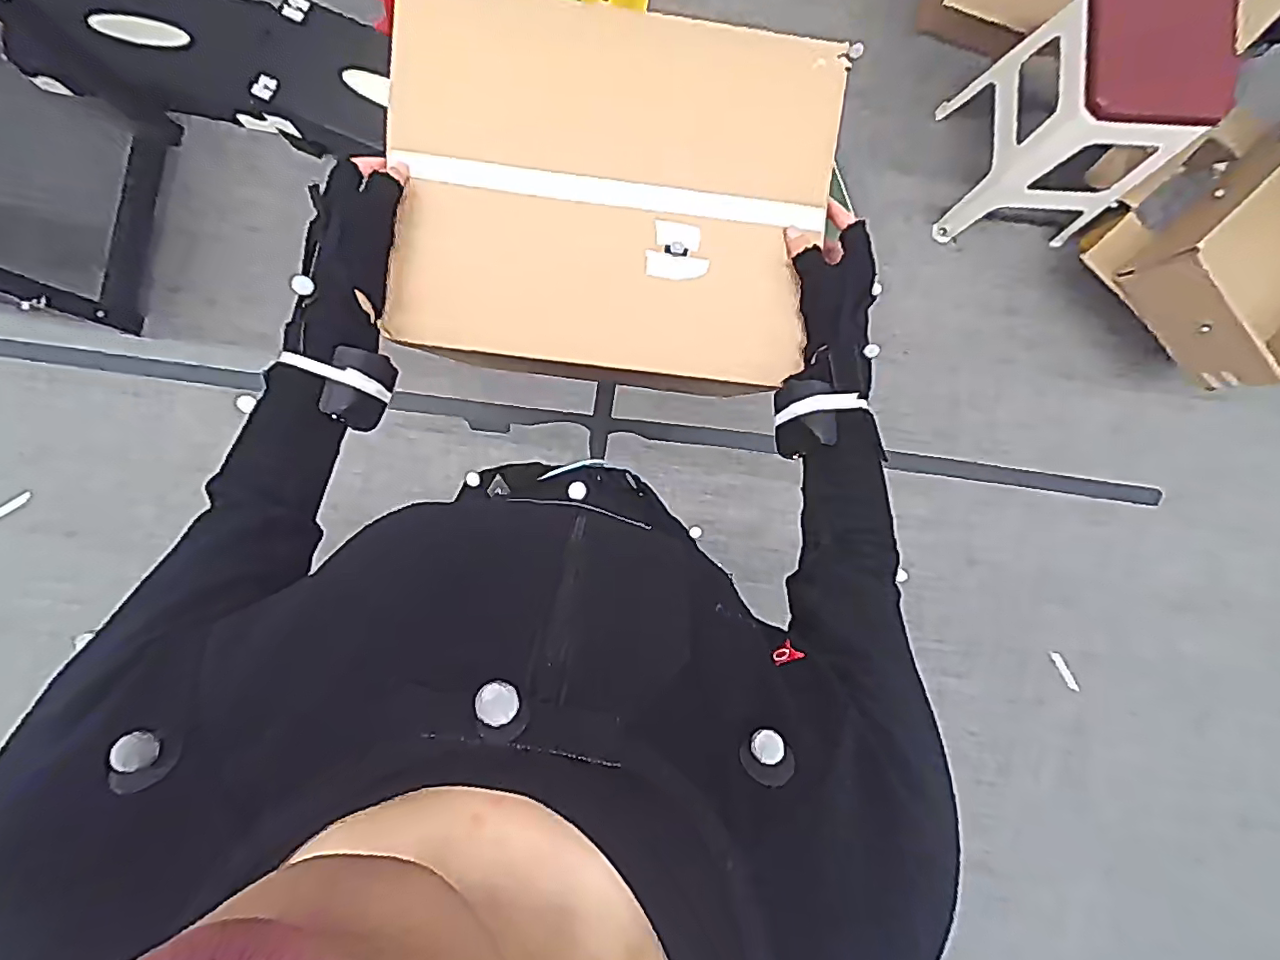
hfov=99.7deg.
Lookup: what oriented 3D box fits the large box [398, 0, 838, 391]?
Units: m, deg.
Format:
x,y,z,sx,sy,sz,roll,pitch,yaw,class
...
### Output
x,y,z,sx,sy,sz,roll,pitch,yaw,class
-0.033,-0.288,0.664,0.408,0.320,0.320,6,98,-4,large box
